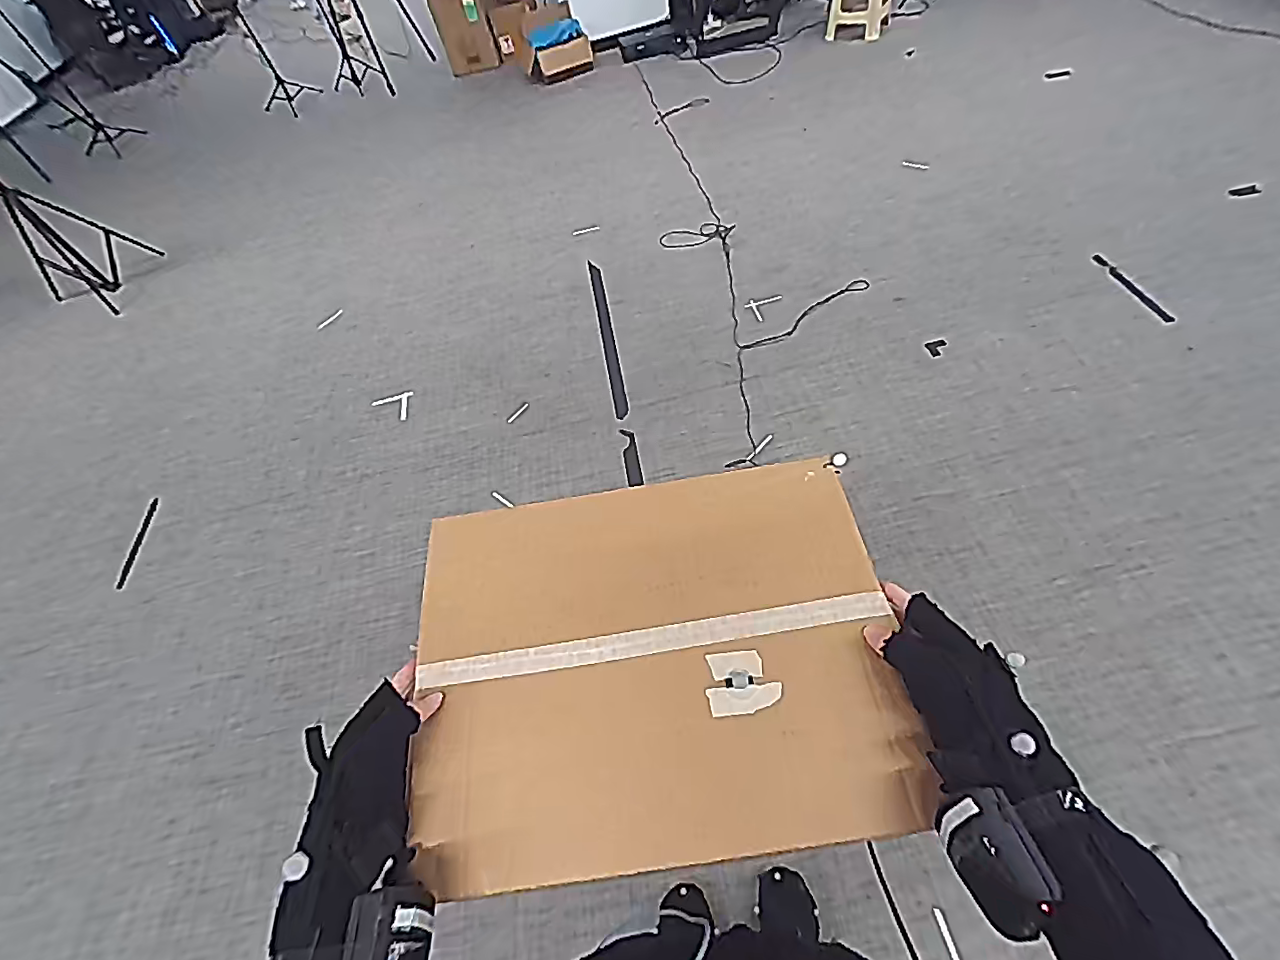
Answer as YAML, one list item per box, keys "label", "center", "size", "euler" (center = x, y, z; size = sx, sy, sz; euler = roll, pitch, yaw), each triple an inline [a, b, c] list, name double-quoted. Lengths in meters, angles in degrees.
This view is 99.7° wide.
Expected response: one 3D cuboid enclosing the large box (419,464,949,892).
- label: "large box"
  center: [0.025, 0.222, 0.598]
  size: [0.408, 0.320, 0.320]
  euler: [-9, 57, 0]
